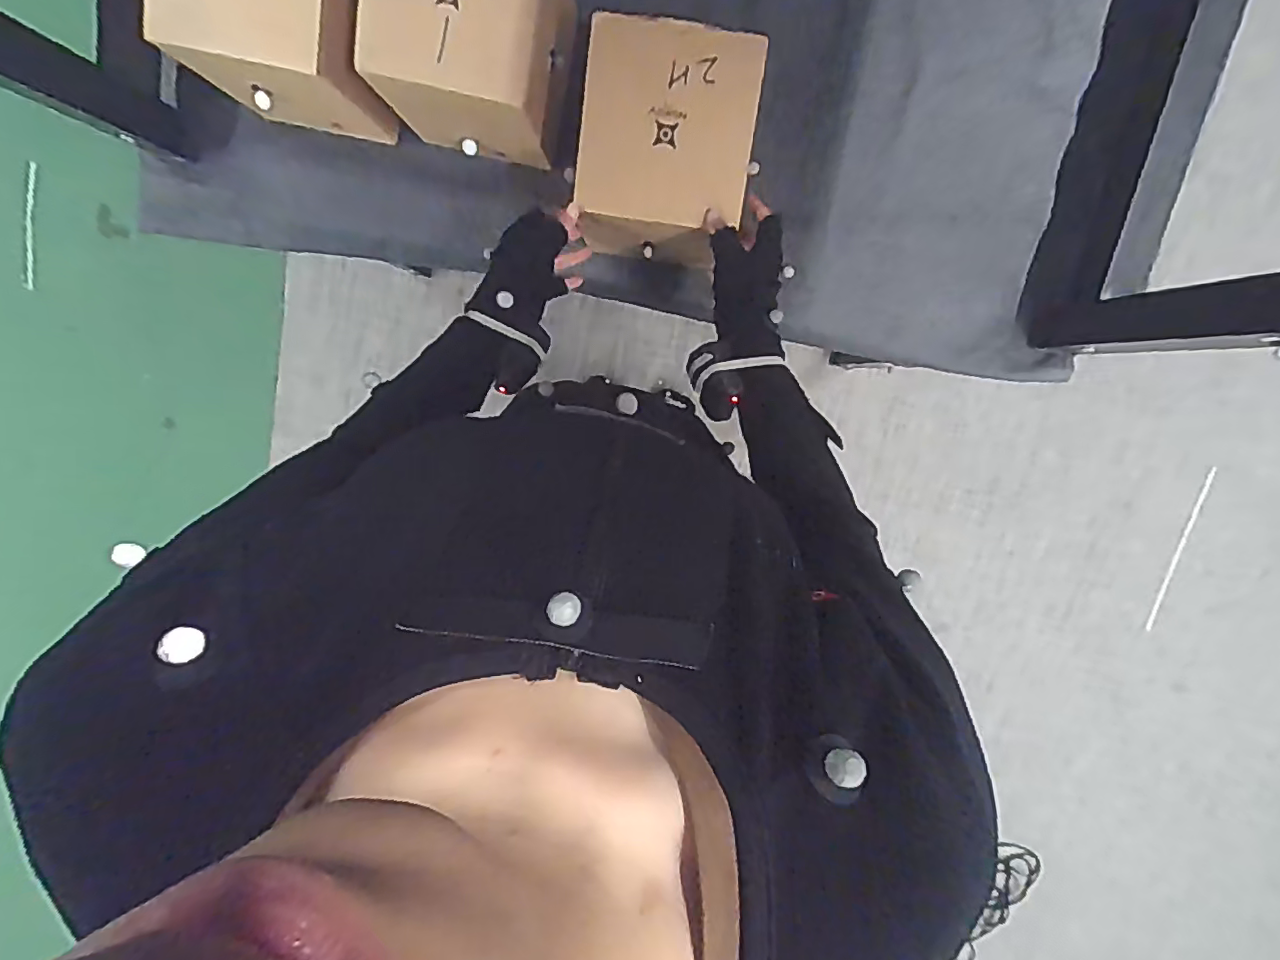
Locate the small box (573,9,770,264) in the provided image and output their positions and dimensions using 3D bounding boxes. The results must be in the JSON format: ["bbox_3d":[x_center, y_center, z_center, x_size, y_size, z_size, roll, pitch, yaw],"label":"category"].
[{"bbox_3d":[0.028,-0.348,0.588,0.168,0.176,0.179,8,100,-2],"label":"small box"}]

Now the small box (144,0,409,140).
[{"bbox_3d":[-0.363,-0.493,0.568,0.168,0.176,0.179,11,100,-2],"label":"small box"}]
